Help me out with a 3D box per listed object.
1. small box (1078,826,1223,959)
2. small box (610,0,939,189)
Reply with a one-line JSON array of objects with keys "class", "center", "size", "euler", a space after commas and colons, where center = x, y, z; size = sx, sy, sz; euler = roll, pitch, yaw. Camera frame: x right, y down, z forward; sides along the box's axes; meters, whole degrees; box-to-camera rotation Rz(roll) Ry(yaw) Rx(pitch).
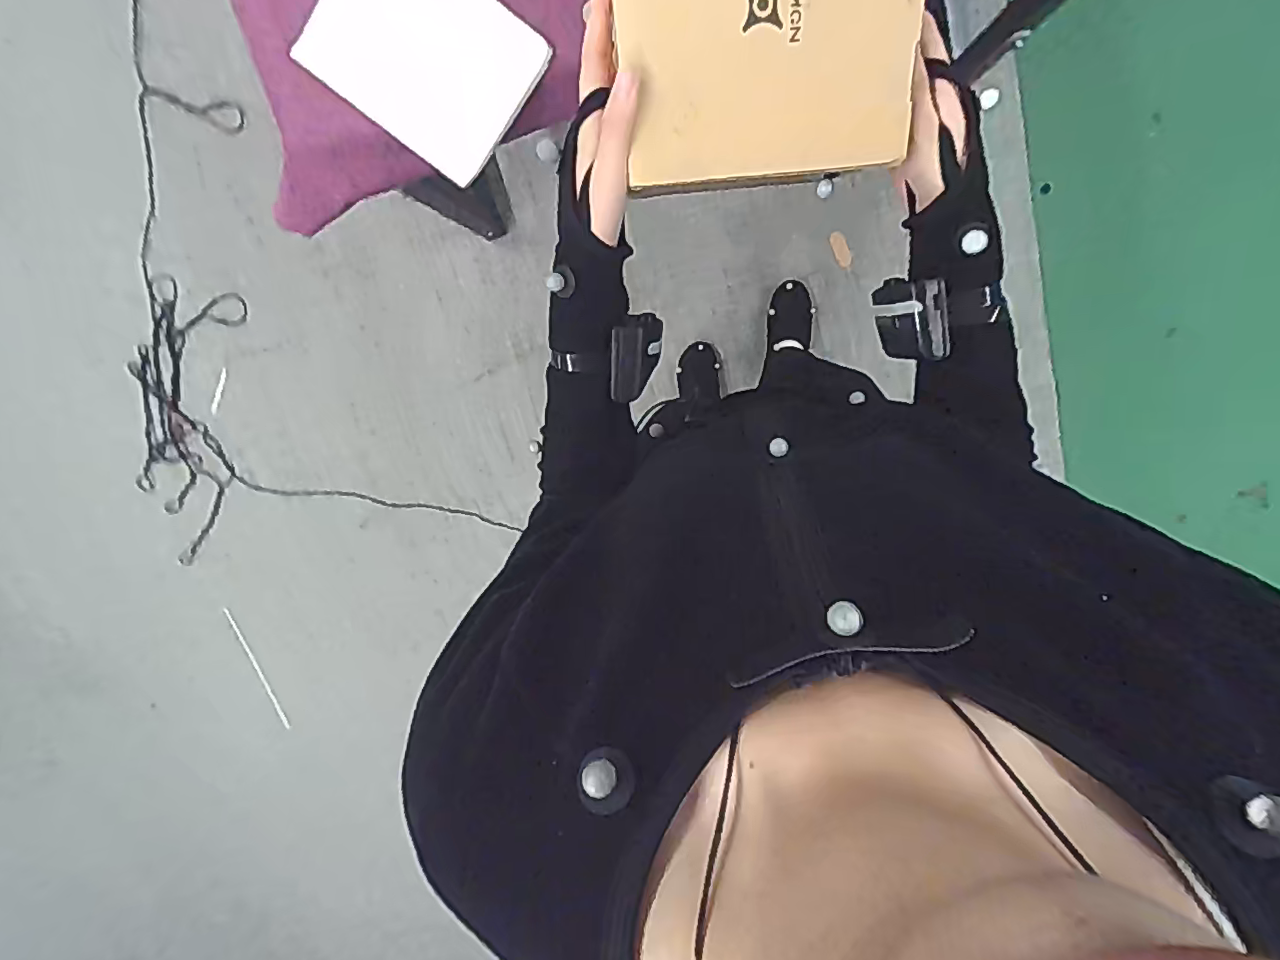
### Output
[{"class": "small box", "center": [1.180, 0.950, 1.265], "size": [0.168, 0.176, 0.179], "euler": [-24, 100, 10]}, {"class": "small box", "center": [0.071, -0.298, 0.362], "size": [0.179, 0.176, 0.168], "euler": [-7, 116, -3]}]
